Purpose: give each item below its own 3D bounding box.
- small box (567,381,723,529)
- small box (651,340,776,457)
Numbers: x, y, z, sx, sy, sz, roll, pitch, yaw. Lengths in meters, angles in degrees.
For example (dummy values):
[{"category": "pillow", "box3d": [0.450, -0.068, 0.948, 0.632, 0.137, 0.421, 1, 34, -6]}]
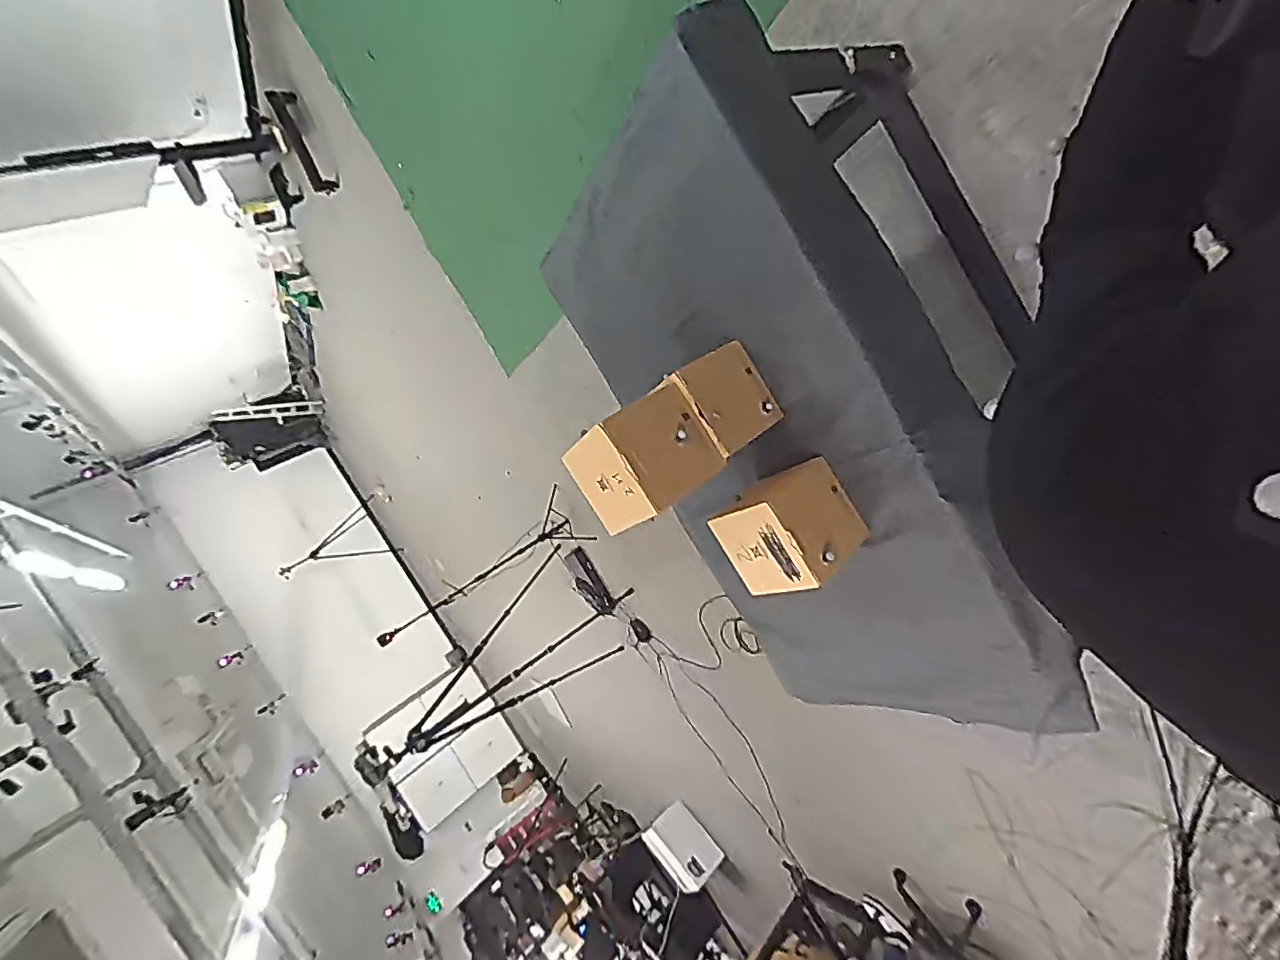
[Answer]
[{"category": "small box", "box3d": [0.009, -0.041, 0.925, 0.168, 0.176, 0.179, 57, 147, -1]}, {"category": "small box", "box3d": [0.125, -0.131, 0.998, 0.168, 0.176, 0.179, 58, 149, -2]}]
